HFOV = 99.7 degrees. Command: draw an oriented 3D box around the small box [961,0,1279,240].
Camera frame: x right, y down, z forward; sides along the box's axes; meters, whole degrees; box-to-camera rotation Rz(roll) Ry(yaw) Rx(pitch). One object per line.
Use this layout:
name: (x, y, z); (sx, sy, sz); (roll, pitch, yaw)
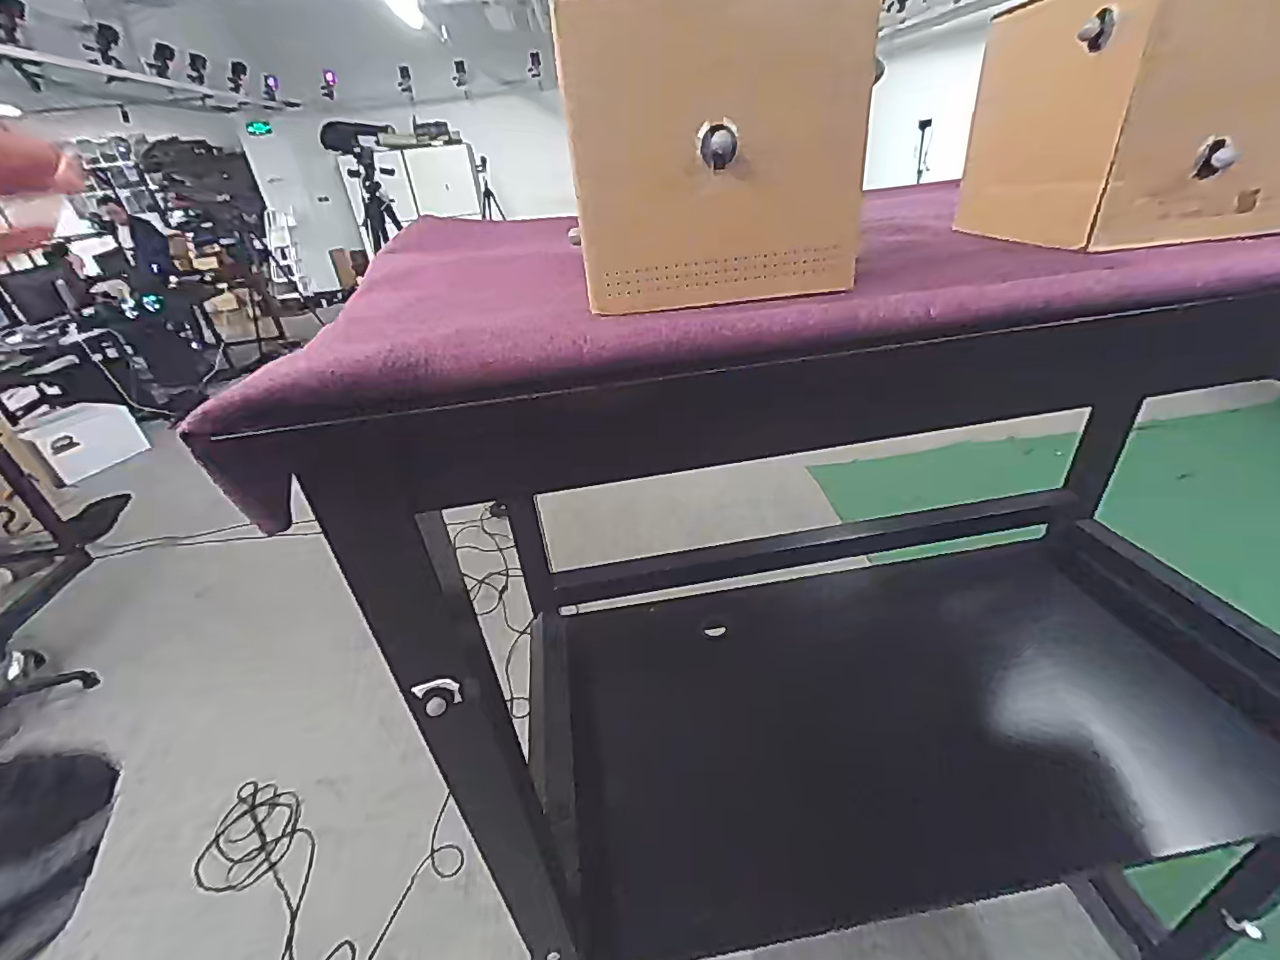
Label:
small box: (0.380, -0.286, 0.412); (0.168, 0.176, 0.179); (-7, 31, 0)
